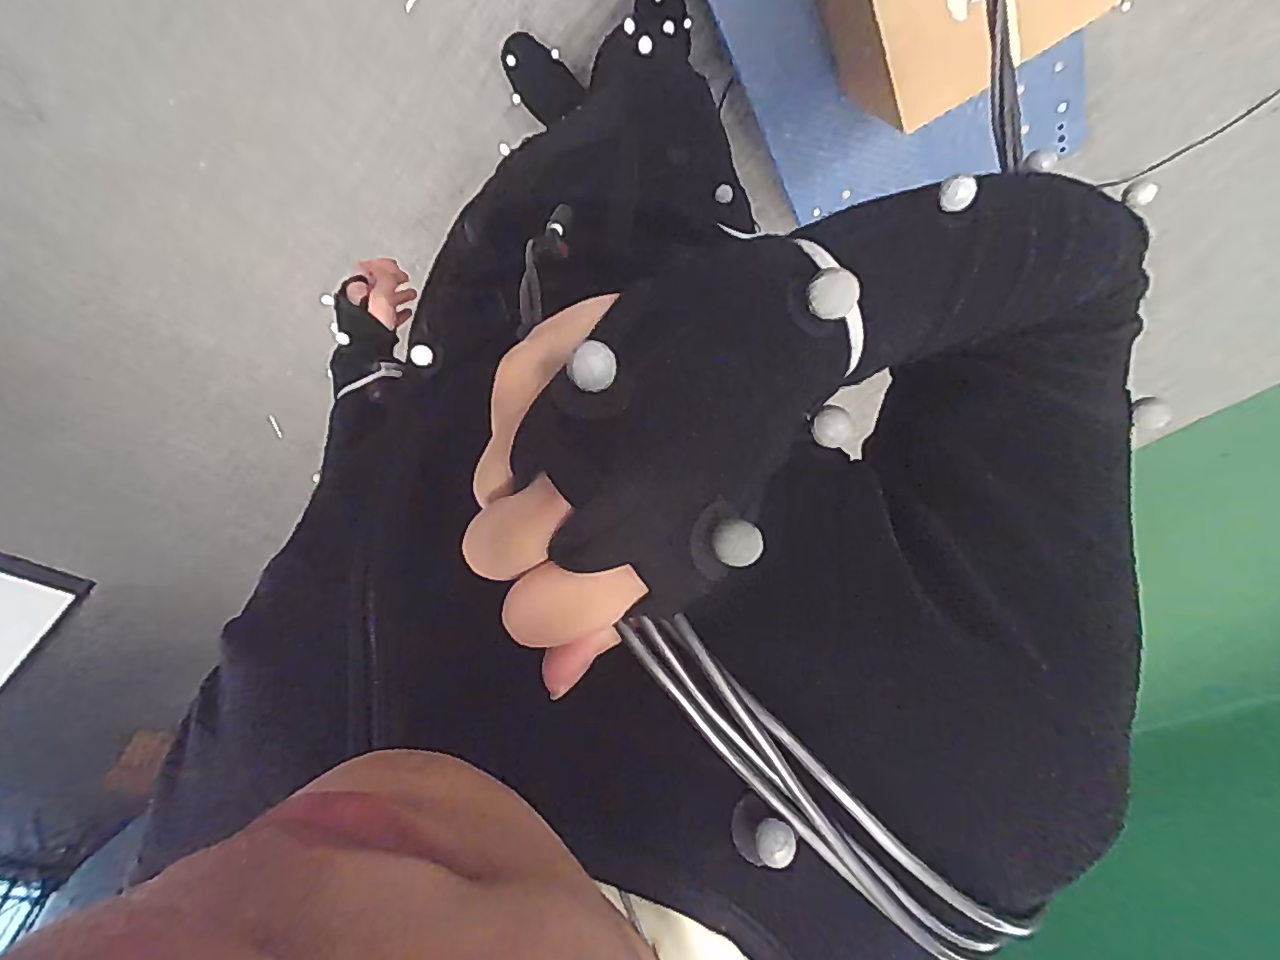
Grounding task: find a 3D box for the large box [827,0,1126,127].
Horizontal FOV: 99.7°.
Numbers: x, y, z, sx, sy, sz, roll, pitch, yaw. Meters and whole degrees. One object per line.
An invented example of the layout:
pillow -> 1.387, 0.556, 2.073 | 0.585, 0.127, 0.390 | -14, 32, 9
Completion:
large box -> 0.452, -0.837, 0.790 | 0.320, 0.320, 0.408 | -25, 131, 21
